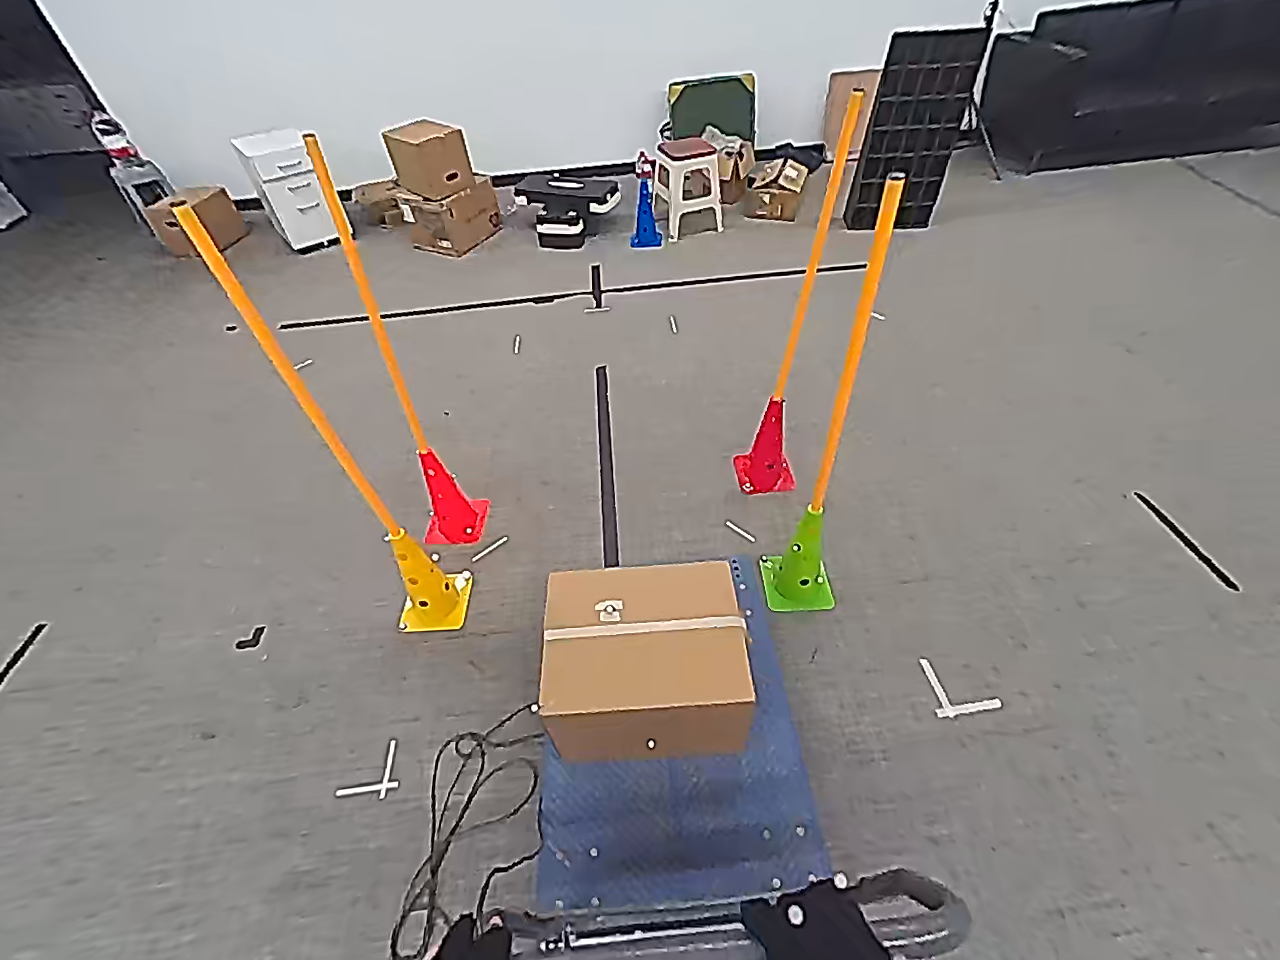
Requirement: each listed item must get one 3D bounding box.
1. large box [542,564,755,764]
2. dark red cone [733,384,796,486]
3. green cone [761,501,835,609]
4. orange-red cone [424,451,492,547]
[{"bbox_3d":[0.020,0.417,1.209,0.408,0.320,0.320,-5,47,1],"label":"large box"},{"bbox_3d":[0.456,-0.165,1.897,0.201,0.394,0.202,-5,47,-3],"label":"dark red cone"},{"bbox_3d":[0.484,0.197,1.575,0.202,0.368,0.200,-3,46,1],"label":"green cone"},{"bbox_3d":[-0.657,0.042,1.829,0.198,0.360,0.199,0,45,3],"label":"orange-red cone"}]
